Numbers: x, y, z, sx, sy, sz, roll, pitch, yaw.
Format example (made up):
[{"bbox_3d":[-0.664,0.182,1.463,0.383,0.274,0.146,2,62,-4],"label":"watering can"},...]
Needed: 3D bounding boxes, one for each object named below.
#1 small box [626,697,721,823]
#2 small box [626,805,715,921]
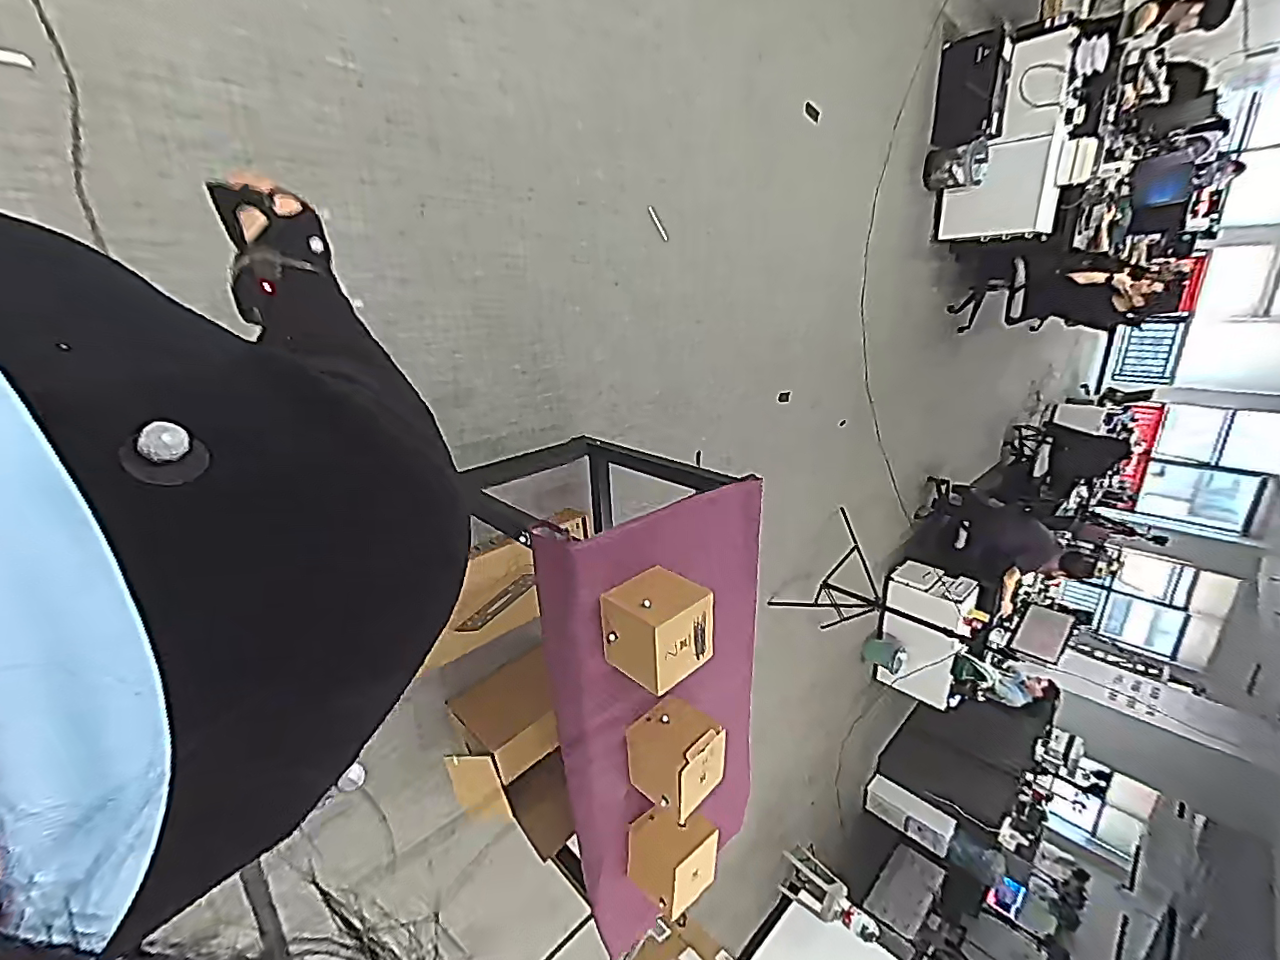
[{"bbox_3d":[0.081,0.672,1.319,0.168,0.176,0.179,-23,118,-42],"label":"small box"},{"bbox_3d":[0.077,0.975,1.416,0.168,0.176,0.179,-13,112,-43],"label":"small box"}]
